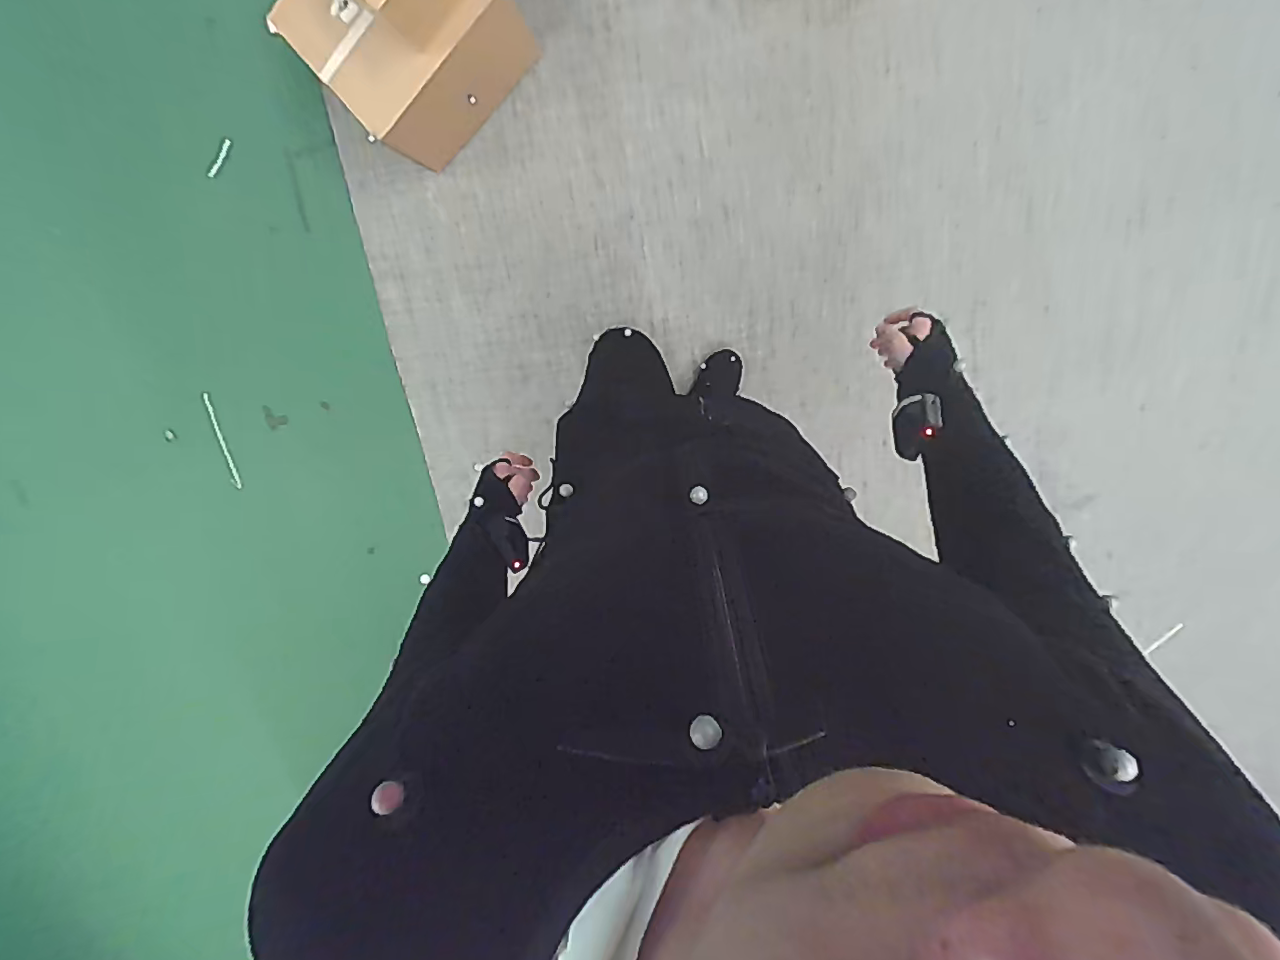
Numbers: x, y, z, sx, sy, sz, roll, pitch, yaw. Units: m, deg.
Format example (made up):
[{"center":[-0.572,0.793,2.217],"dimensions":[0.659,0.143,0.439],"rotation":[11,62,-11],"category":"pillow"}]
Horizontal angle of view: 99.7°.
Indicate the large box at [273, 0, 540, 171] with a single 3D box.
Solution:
[{"center":[-0.500,-1.005,1.225],"dimensions":[0.408,0.320,0.320],"rotation":[-40,99,16],"category":"large box"}]
